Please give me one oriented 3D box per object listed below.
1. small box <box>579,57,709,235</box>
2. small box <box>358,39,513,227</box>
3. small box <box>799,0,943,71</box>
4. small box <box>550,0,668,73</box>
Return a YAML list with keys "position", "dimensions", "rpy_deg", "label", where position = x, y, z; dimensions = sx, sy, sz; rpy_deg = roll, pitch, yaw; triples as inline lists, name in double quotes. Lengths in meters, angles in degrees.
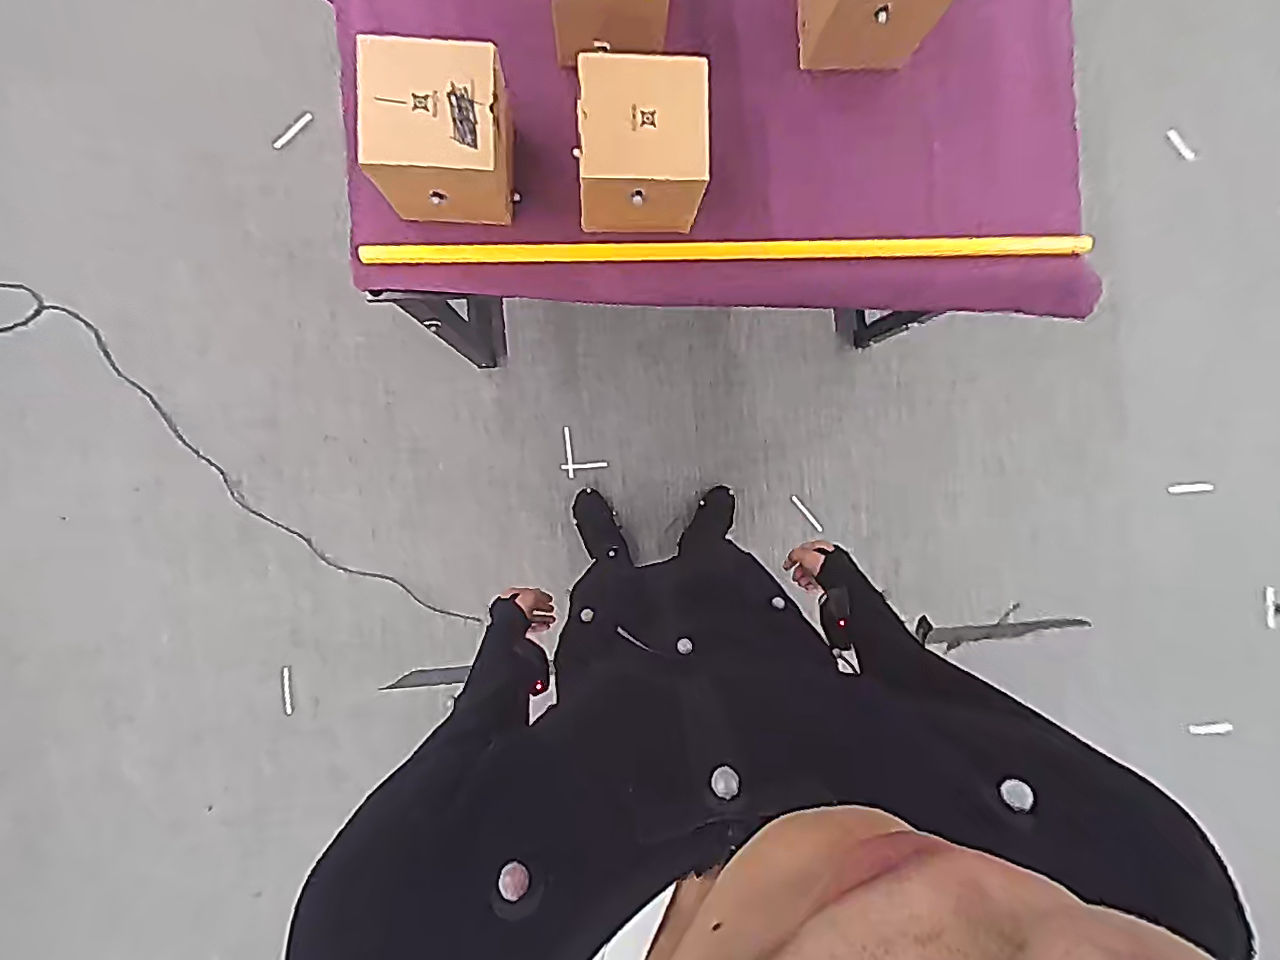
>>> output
- position: [0.000, -0.481, 0.804]
  dimensions: [0.179, 0.176, 0.168]
  rpy_deg: [-1, 91, -3]
  label: "small box"
- position: [-0.282, -0.483, 0.781]
  dimensions: [0.179, 0.176, 0.168]
  rpy_deg: [1, 92, -4]
  label: "small box"
- position: [0.348, -0.759, 0.818]
  dimensions: [0.179, 0.176, 0.168]
  rpy_deg: [-4, 93, -4]
  label: "small box"
- position: [-0.053, -0.746, 0.792]
  dimensions: [0.168, 0.176, 0.179]
  rpy_deg: [-6, 93, -3]
  label: "small box"
